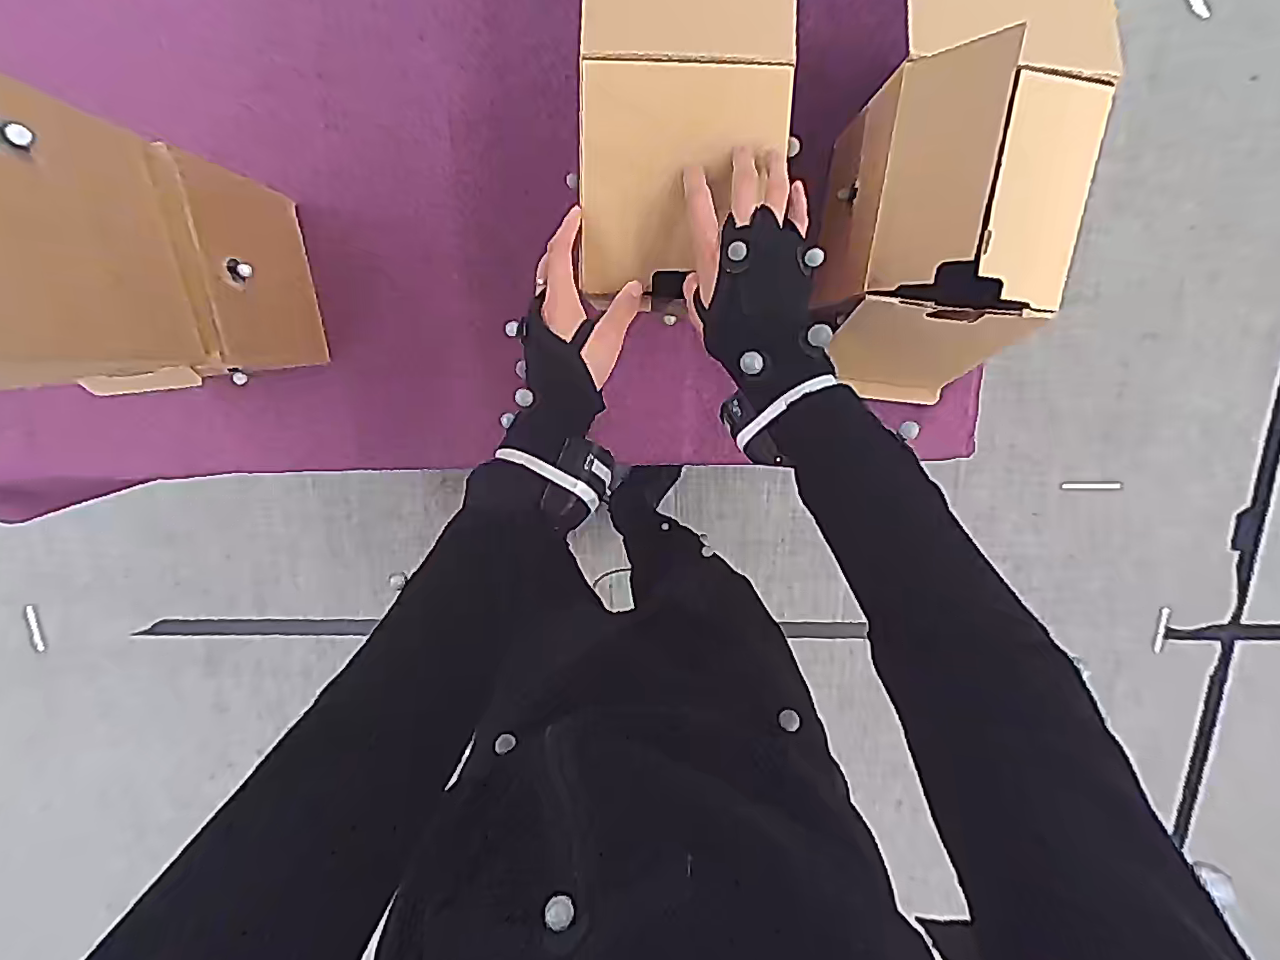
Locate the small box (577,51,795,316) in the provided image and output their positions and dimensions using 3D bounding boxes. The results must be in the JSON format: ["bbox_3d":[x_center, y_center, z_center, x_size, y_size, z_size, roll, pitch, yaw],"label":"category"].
[{"bbox_3d":[0.033,-0.255,0.507,0.168,0.176,0.179,3,103,0],"label":"small box"}]

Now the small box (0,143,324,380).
[{"bbox_3d":[-0.442,-0.196,0.525,0.168,0.176,0.179,-5,103,1],"label":"small box"}]
